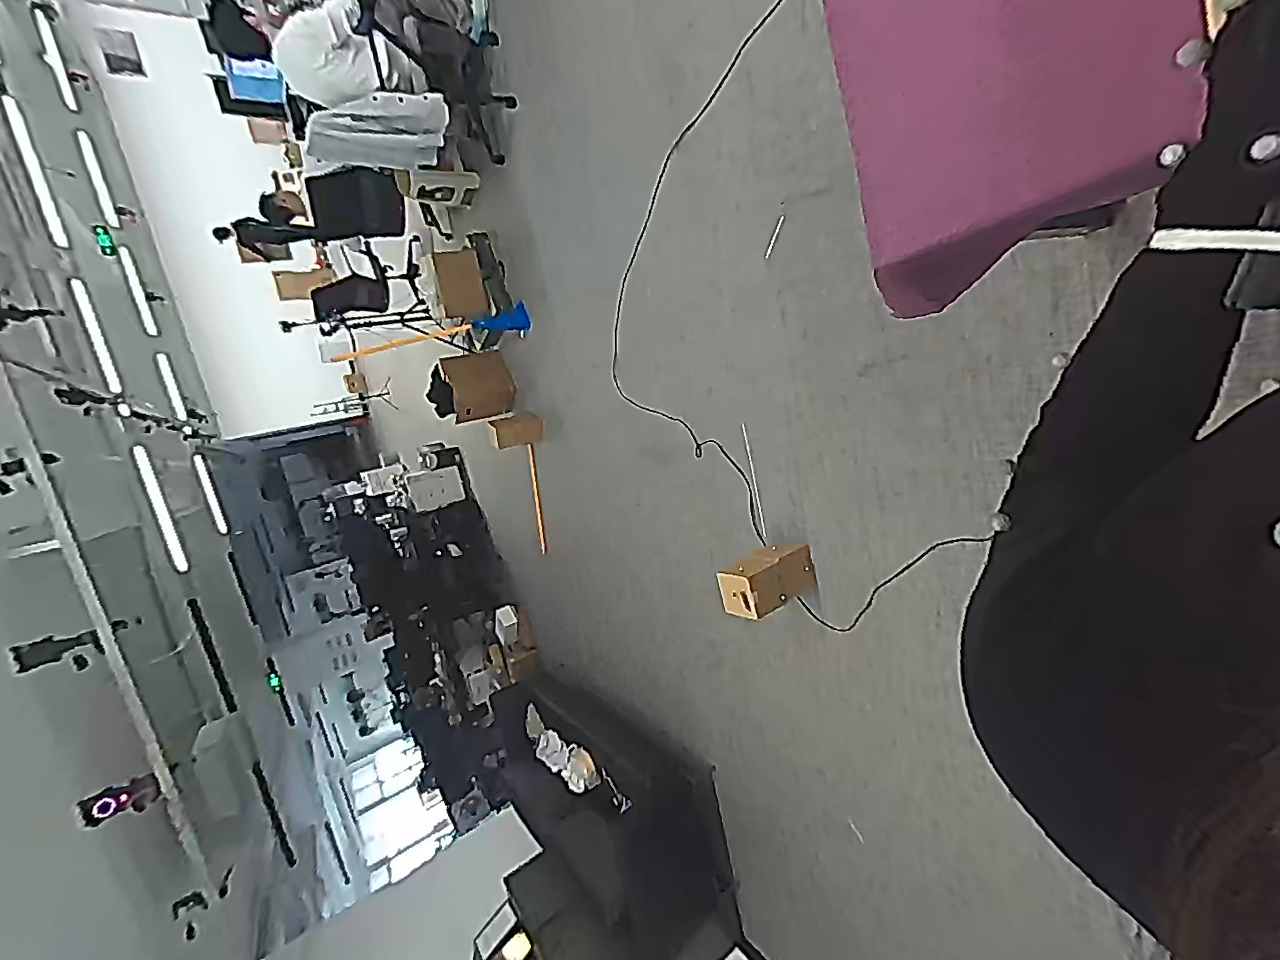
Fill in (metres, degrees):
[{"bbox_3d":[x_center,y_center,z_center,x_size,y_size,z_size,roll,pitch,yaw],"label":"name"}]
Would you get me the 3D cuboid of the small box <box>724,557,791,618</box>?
[{"bbox_3d":[0.452,0.401,2.045,0.179,0.176,0.168,-4,102,60],"label":"small box"}]
